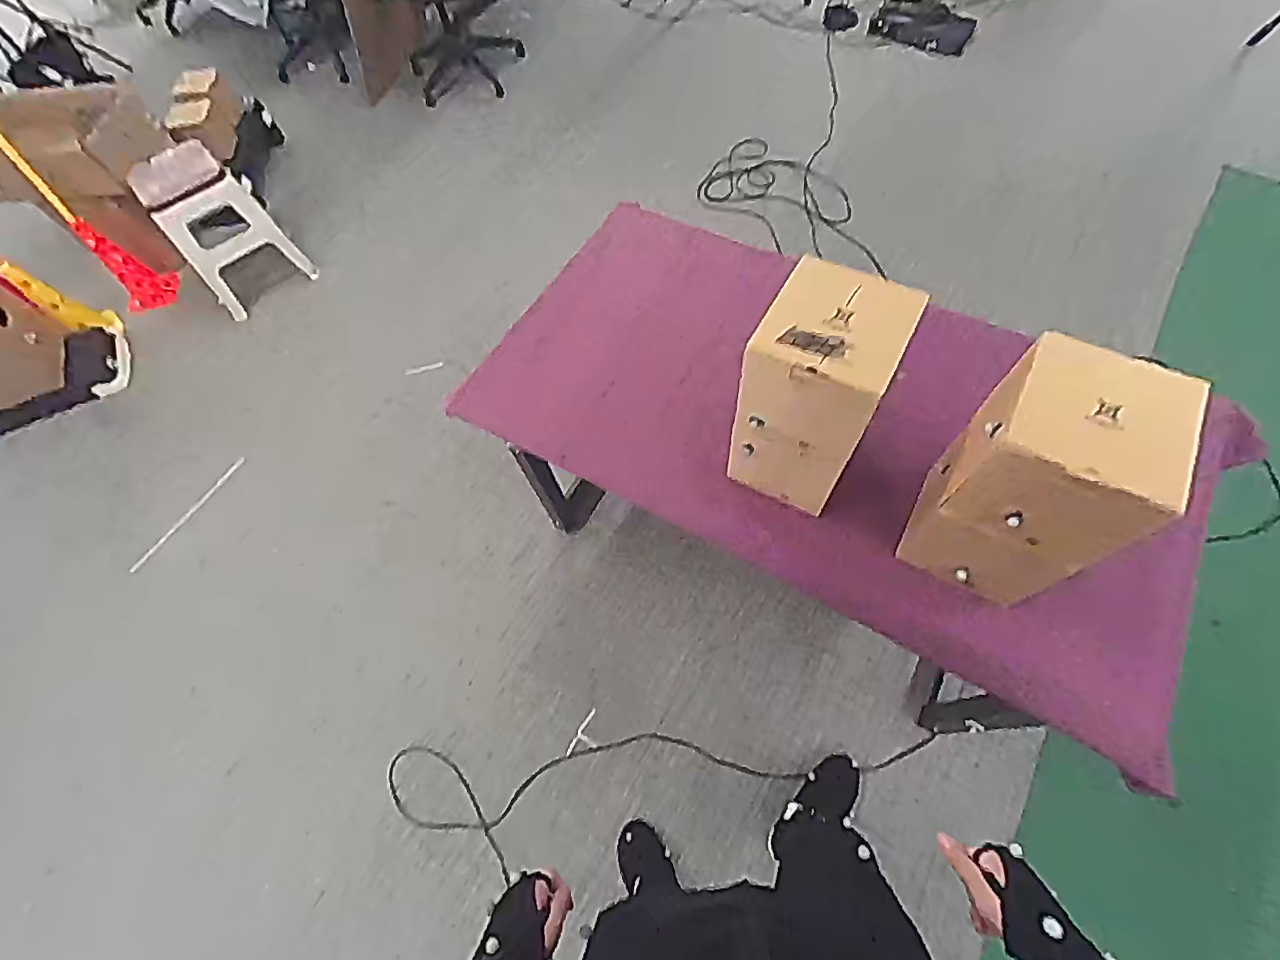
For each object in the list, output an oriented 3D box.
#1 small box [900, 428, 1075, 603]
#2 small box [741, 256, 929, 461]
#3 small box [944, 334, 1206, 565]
[{"bbox_3d":[0.503,0.047,0.777,0.168,0.176,0.179,27,68,18],"label":"small box"},{"bbox_3d":[0.245,-0.154,0.718,0.168,0.176,0.179,27,67,17],"label":"small box"},{"bbox_3d":[0.491,-0.030,0.635,0.168,0.176,0.179,27,68,17],"label":"small box"}]
